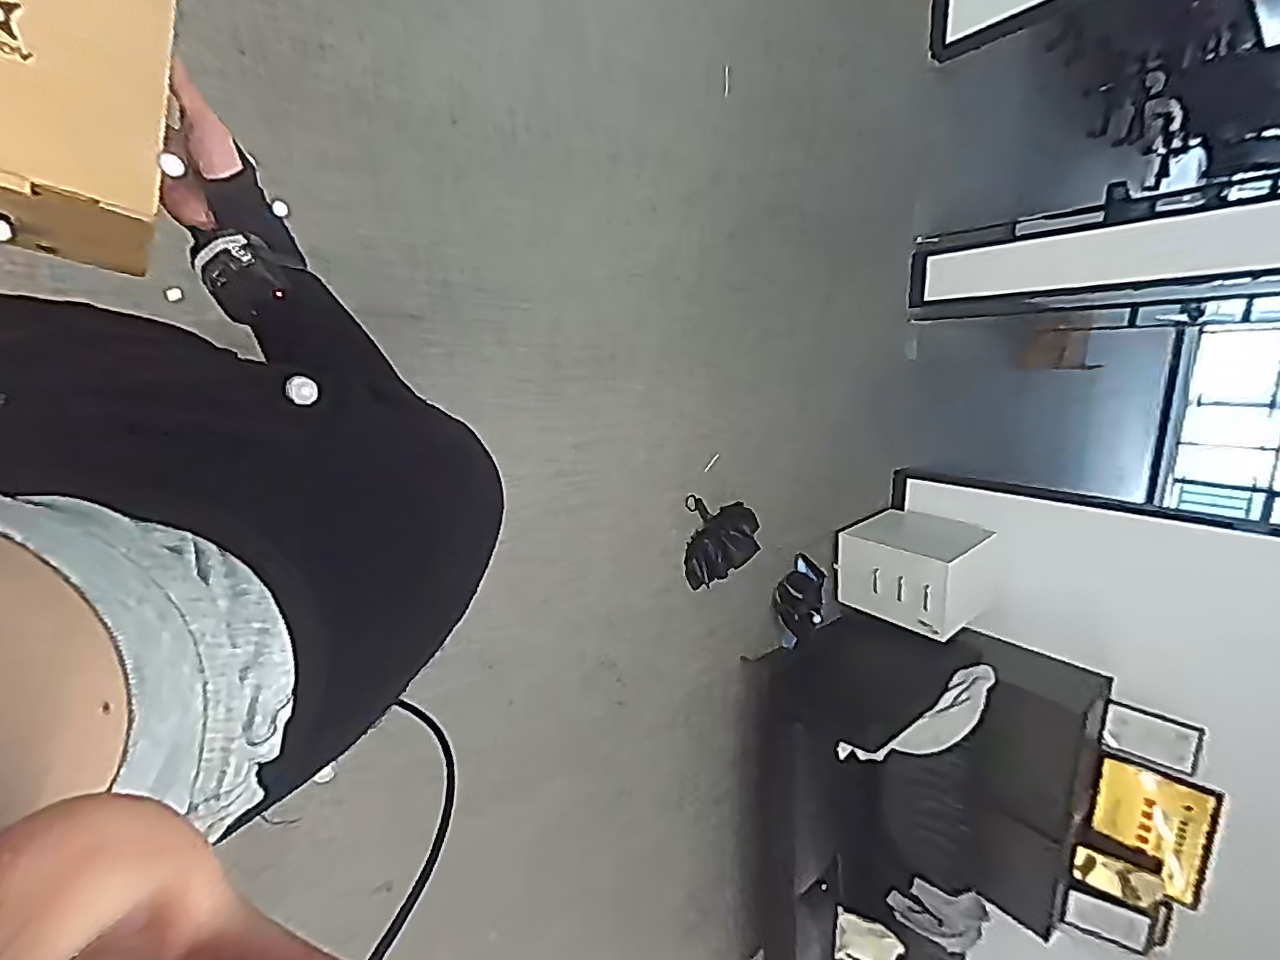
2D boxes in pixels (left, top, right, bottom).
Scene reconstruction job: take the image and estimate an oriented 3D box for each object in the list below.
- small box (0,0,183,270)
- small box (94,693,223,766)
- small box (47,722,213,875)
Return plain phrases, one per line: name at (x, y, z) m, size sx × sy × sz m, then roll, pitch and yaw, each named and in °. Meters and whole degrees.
small box at (-0.444, -0.271, 0.383) m, size 0.168 × 0.176 × 0.179 m, roll 4°, pitch 90°, yaw -45°
small box at (-1.082, 0.610, 1.212) m, size 0.168 × 0.176 × 0.179 m, roll 41°, pitch 74°, yaw -35°
small box at (-0.992, 0.624, 1.075) m, size 0.179 × 0.176 × 0.168 m, roll -52°, pitch 125°, yaw -19°
